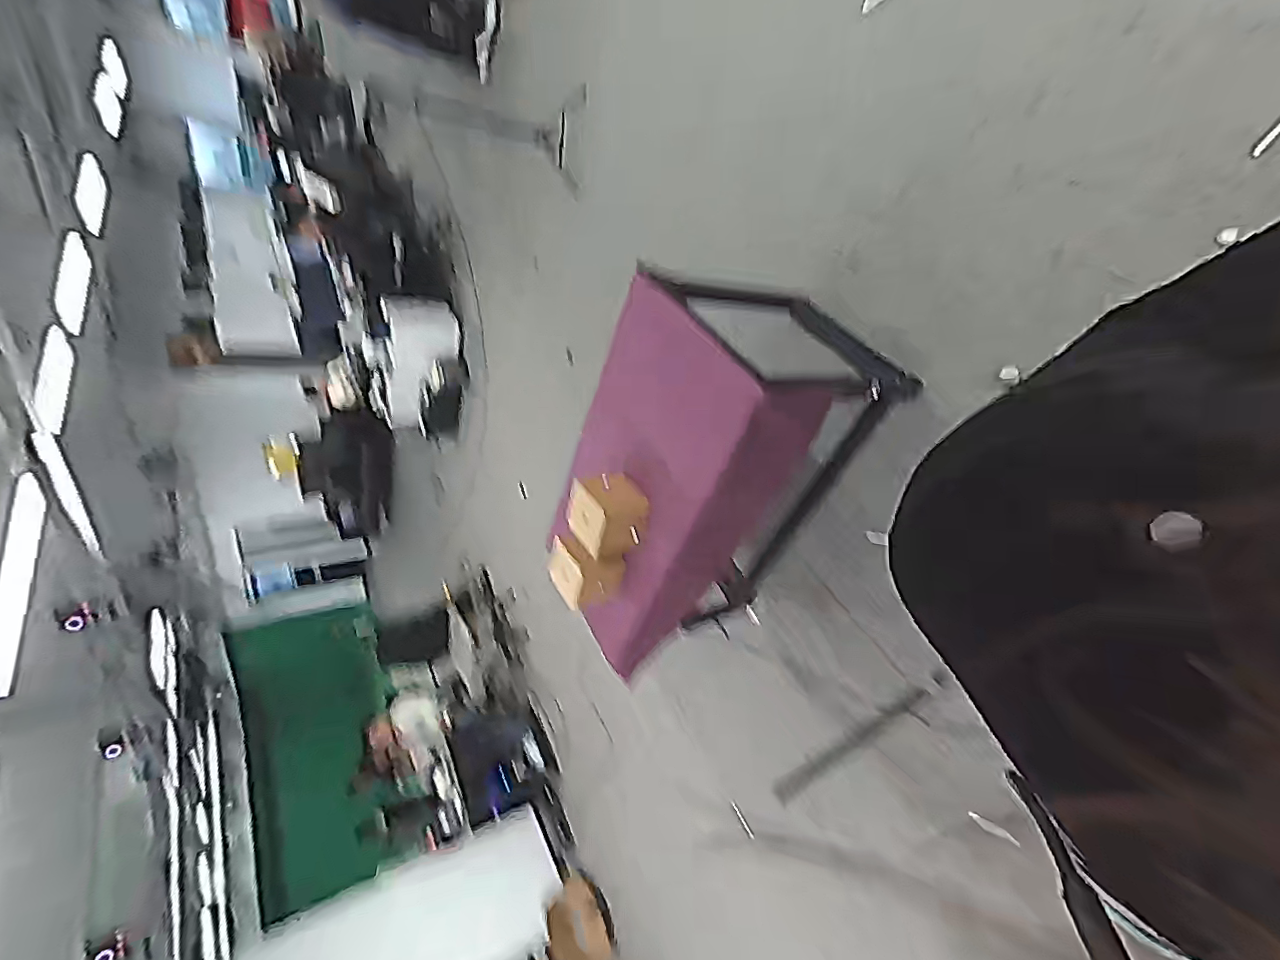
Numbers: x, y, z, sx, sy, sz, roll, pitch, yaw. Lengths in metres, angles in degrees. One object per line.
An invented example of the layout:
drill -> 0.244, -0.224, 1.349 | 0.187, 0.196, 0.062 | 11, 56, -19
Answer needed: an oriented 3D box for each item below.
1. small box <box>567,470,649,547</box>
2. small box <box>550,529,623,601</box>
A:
small box -> -0.099, 0.081, 1.660 | 0.179, 0.176, 0.168 | 46, 132, 39
small box -> -0.179, 0.269, 1.809 | 0.179, 0.176, 0.168 | 47, 132, 39
